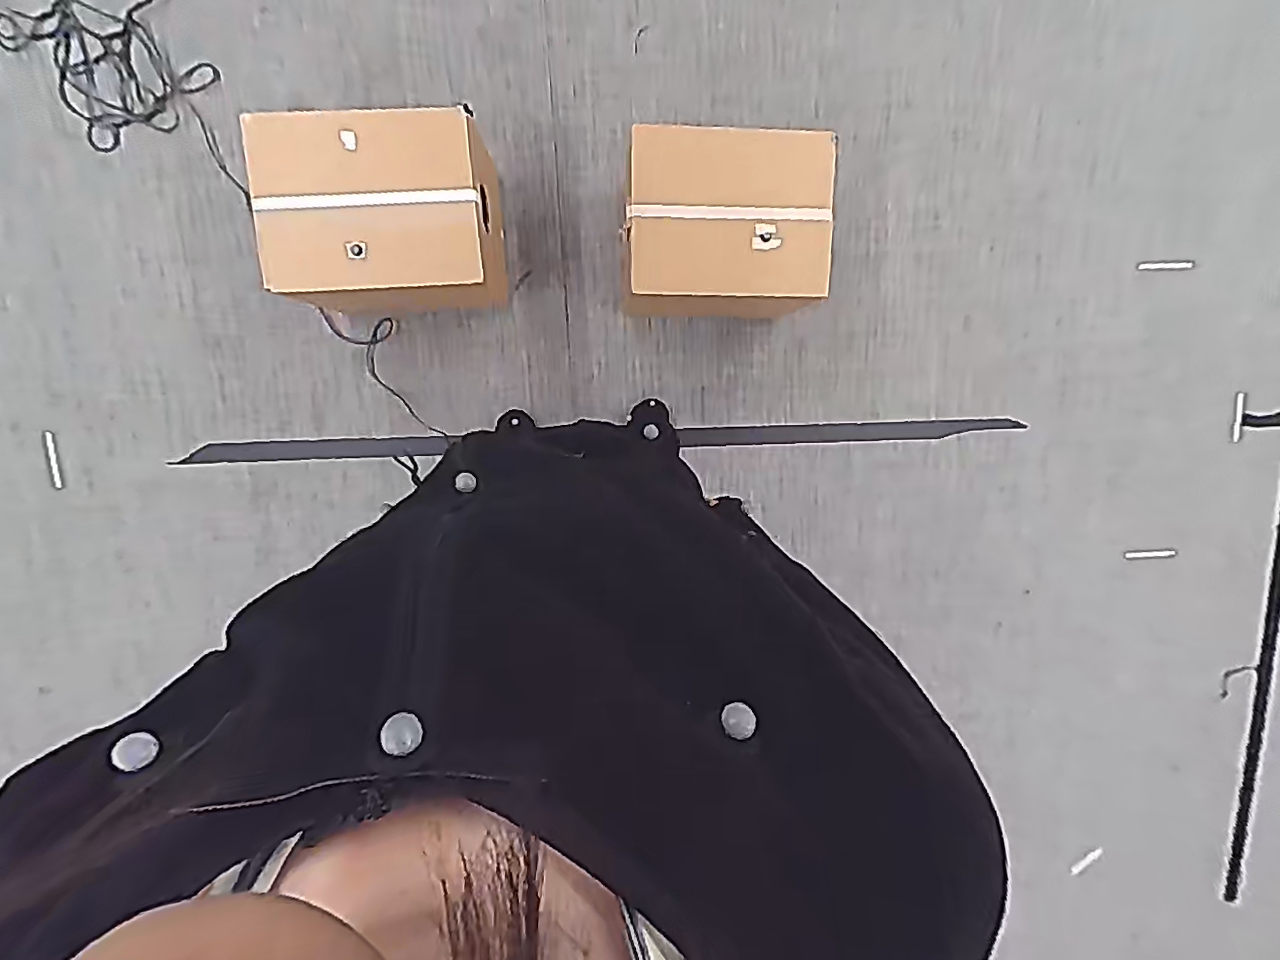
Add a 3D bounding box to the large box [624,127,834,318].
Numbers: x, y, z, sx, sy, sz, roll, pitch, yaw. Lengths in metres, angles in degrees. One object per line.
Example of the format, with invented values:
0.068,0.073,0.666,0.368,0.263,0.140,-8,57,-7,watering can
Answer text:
0.173,-0.548,1.218,0.408,0.320,0.320,0,99,-5,large box
